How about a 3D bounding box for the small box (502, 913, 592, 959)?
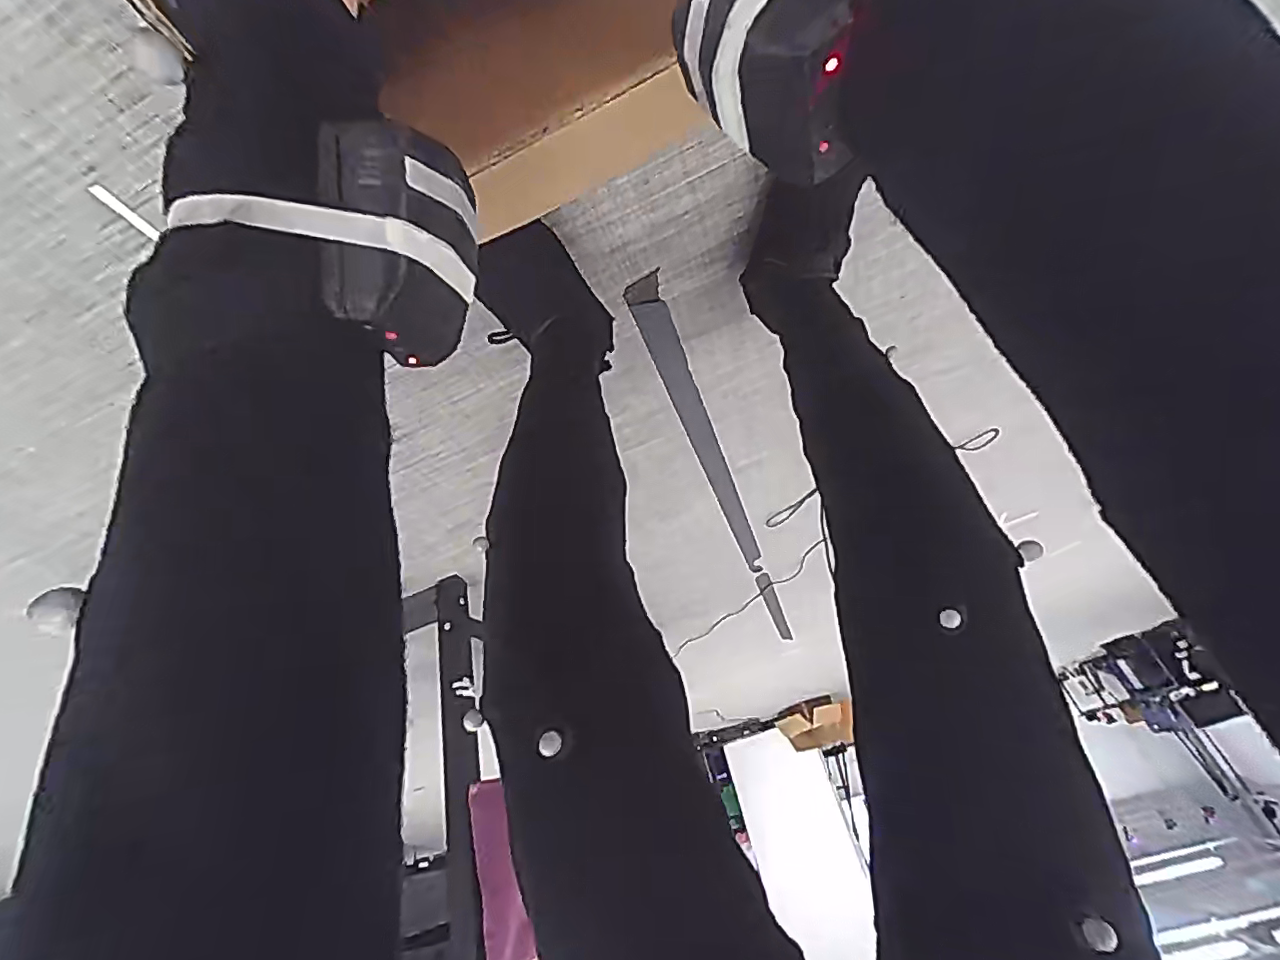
[{"bbox_3d":[-0.231,1.226,1.366,0.179,0.176,0.168,-28,147,17],"label":"small box"}]
